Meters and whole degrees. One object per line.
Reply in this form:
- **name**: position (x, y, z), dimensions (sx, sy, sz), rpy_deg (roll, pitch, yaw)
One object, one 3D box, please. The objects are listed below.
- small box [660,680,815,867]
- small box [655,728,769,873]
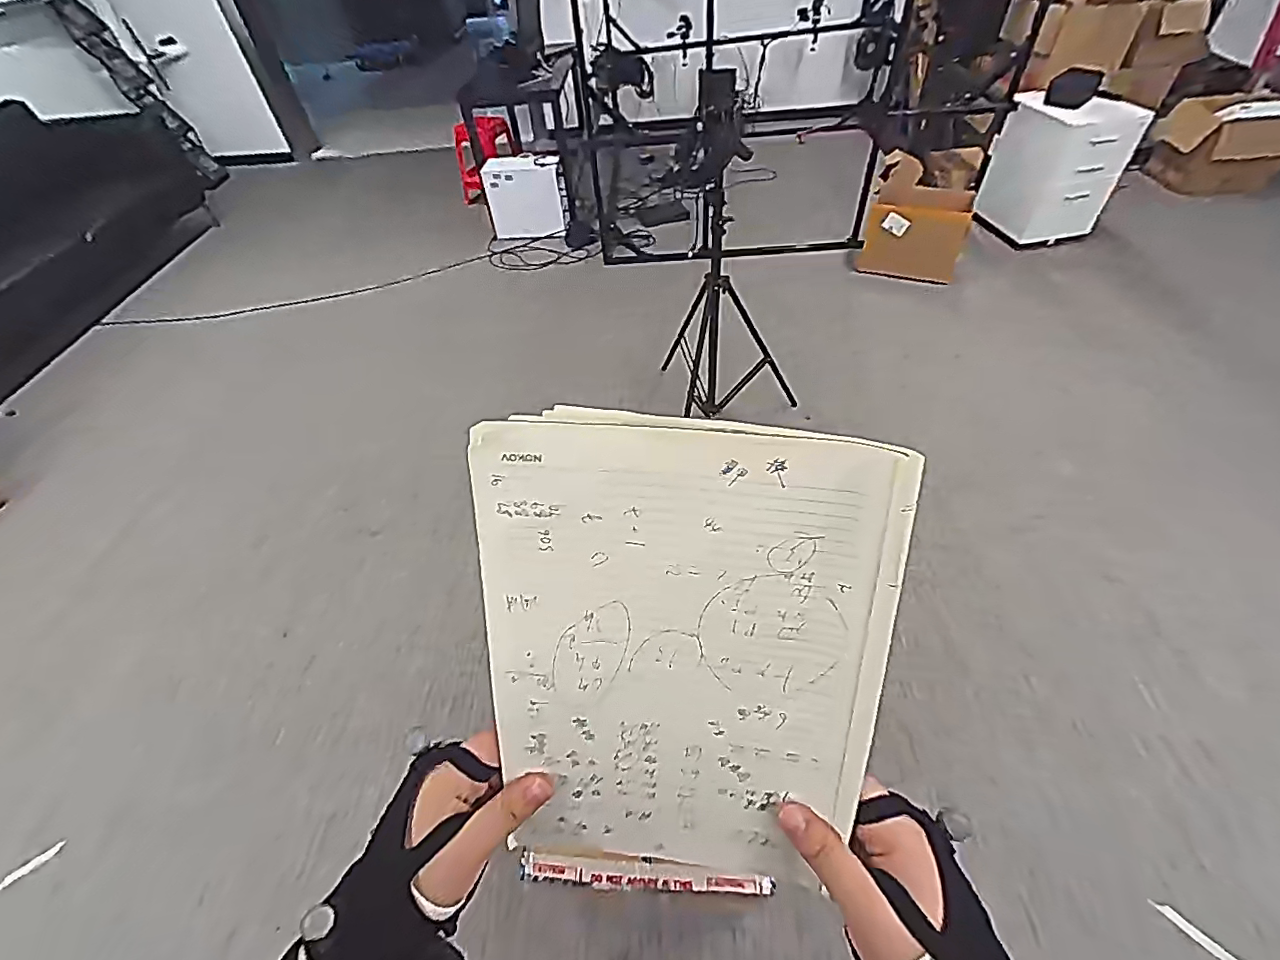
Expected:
- **small box**: position (0.110, 0.375, 0.690), dimensions (0.168, 0.176, 0.179), rpy_deg (0, 50, 3)
- **small box**: position (0.112, 0.482, 0.815), dimensions (0.179, 0.176, 0.168), rpy_deg (-3, 49, 1)
